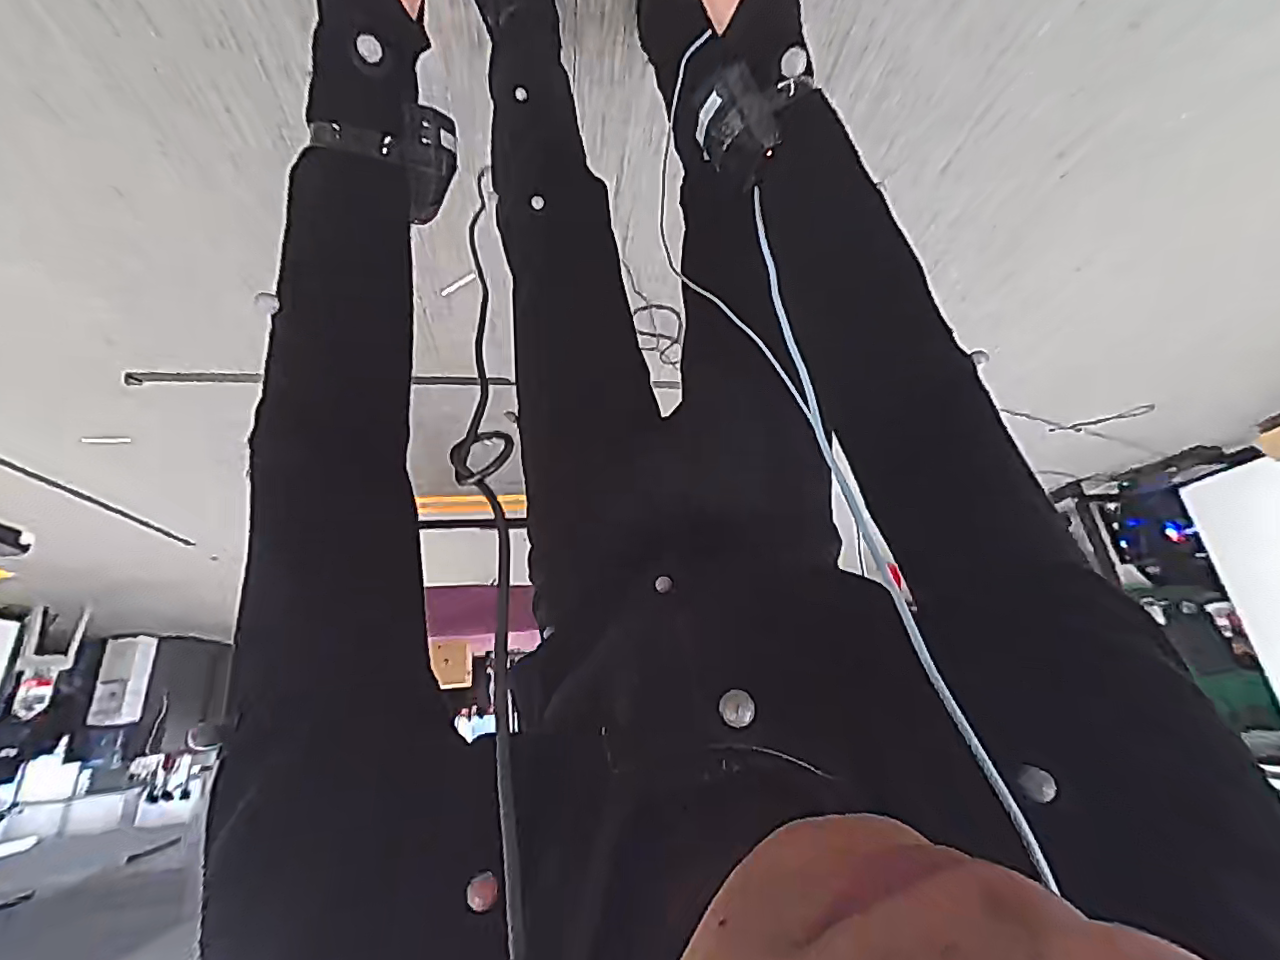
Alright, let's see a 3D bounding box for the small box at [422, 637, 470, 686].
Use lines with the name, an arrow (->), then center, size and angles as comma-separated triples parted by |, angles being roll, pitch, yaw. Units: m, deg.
small box -> -0.779, 0.730, 2.181 | 0.168, 0.176, 0.179 | -1, 158, -11
